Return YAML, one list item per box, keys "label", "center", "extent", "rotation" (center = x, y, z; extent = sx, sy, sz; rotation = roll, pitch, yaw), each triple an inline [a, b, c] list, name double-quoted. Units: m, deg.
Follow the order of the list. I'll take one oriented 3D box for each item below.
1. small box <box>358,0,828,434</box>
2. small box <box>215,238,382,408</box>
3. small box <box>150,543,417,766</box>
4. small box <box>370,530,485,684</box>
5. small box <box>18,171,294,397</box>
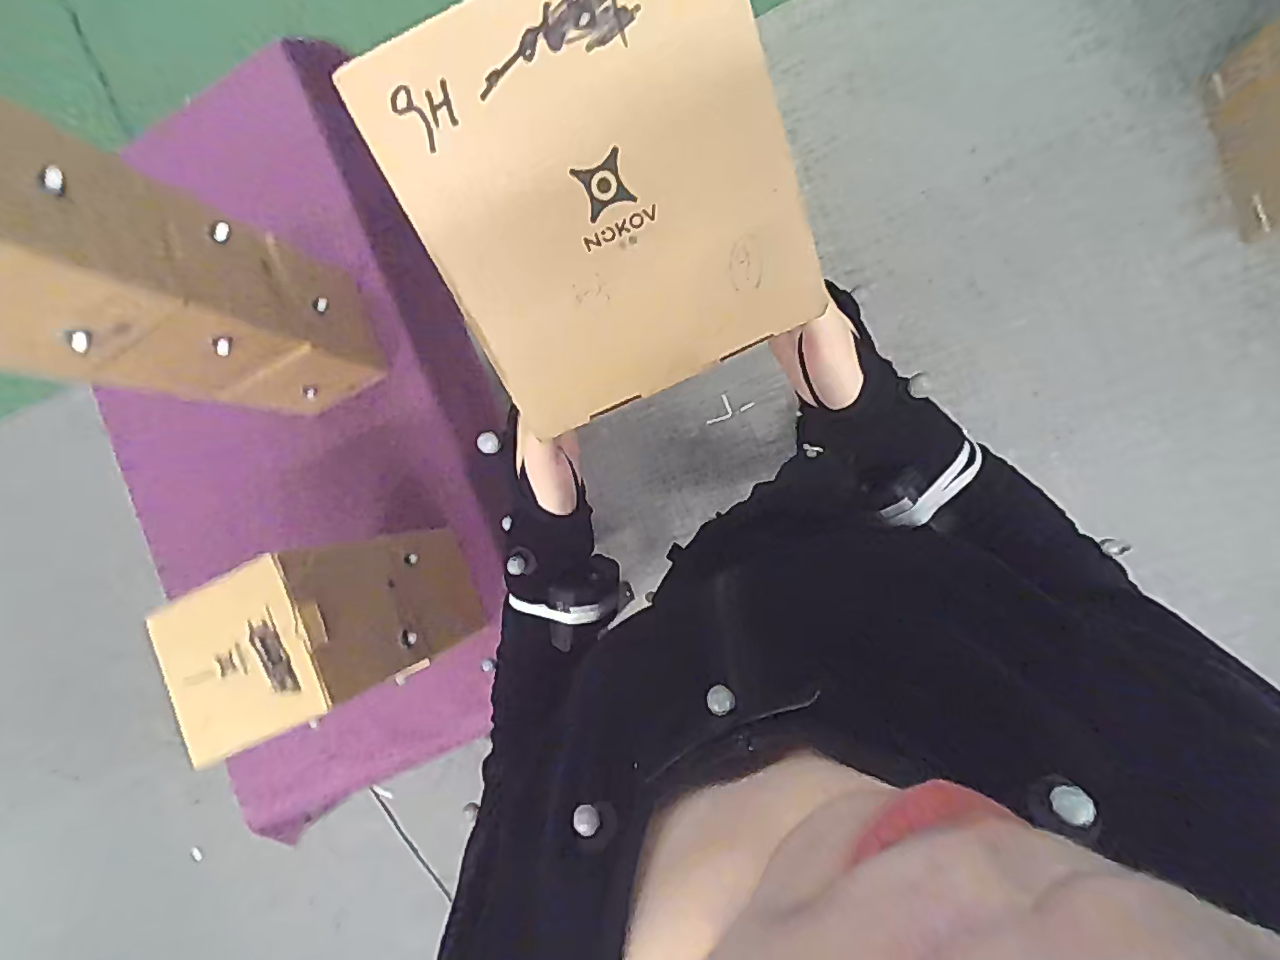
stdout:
- label: "small box"
  center: [-0.016, -0.158, 0.318]
  extent: [0.168, 0.176, 0.179]
  rotation: [-23, 116, 4]
- label: "small box"
  center: [-0.527, -0.218, 0.814]
  extent: [0.168, 0.176, 0.179]
  rotation: [-23, 85, 9]
- label: "small box"
  center: [-0.385, 0.182, 0.617]
  extent: [0.179, 0.176, 0.168]
  rotation: [-25, 84, 11]
- label: "small box"
  center: [-0.352, 0.185, 0.778]
  extent: [0.168, 0.176, 0.179]
  rotation: [-25, 84, 9]
- label: "small box"
  center: [-0.562, -0.218, 0.655]
  extent: [0.179, 0.176, 0.168]
  rotation: [-26, 84, 10]
